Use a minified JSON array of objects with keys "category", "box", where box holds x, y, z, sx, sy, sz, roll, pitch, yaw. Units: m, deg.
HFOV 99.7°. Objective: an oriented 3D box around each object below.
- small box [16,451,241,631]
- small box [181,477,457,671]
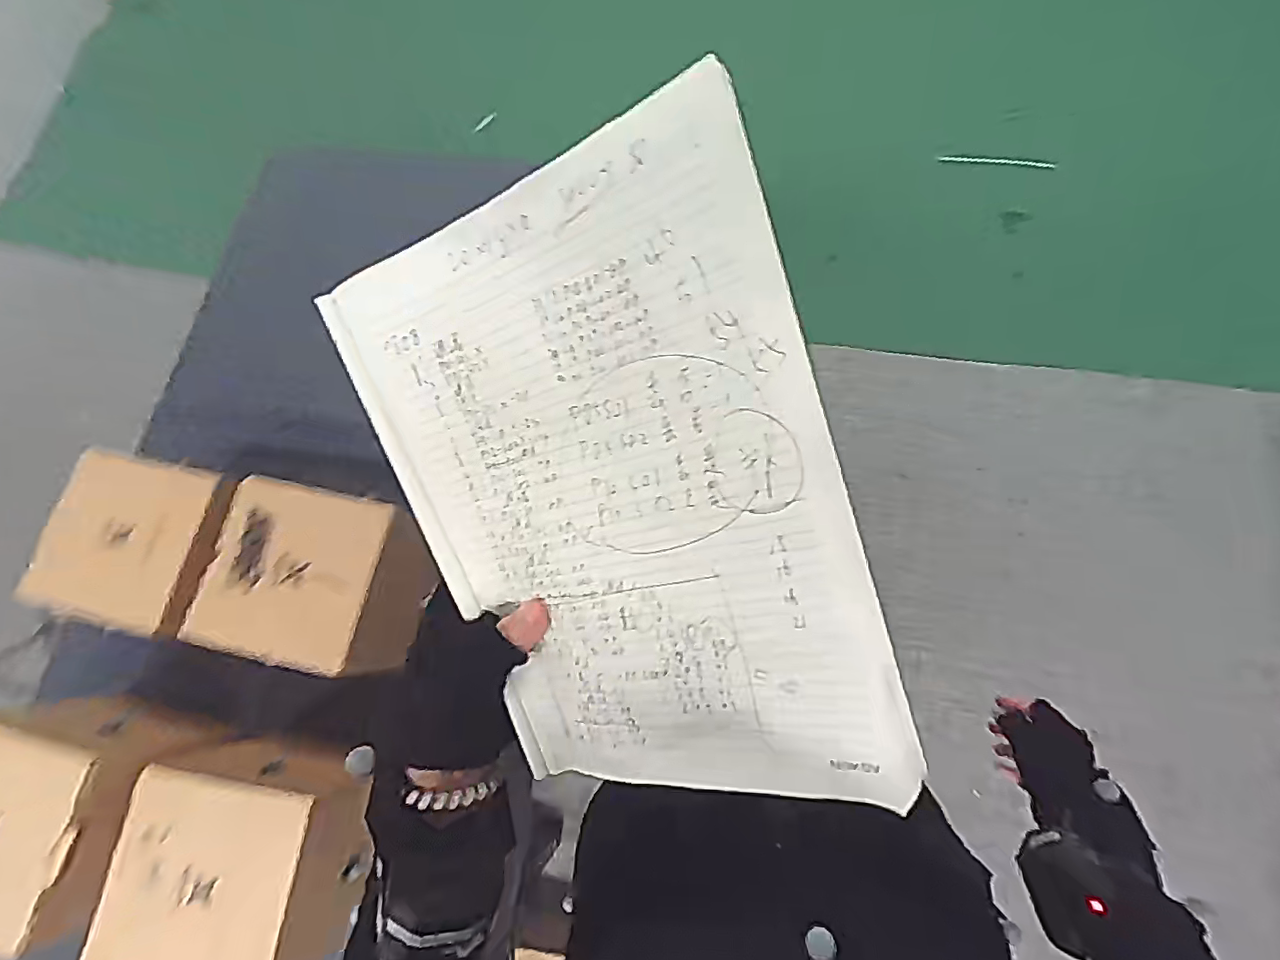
[{"category":"small box","box":[-0.541,0.080,0.645,0.179,0.176,0.168,11,77,8]},{"category":"small box","box":[-0.341,0.109,0.612,0.179,0.176,0.168,10,76,9]}]
